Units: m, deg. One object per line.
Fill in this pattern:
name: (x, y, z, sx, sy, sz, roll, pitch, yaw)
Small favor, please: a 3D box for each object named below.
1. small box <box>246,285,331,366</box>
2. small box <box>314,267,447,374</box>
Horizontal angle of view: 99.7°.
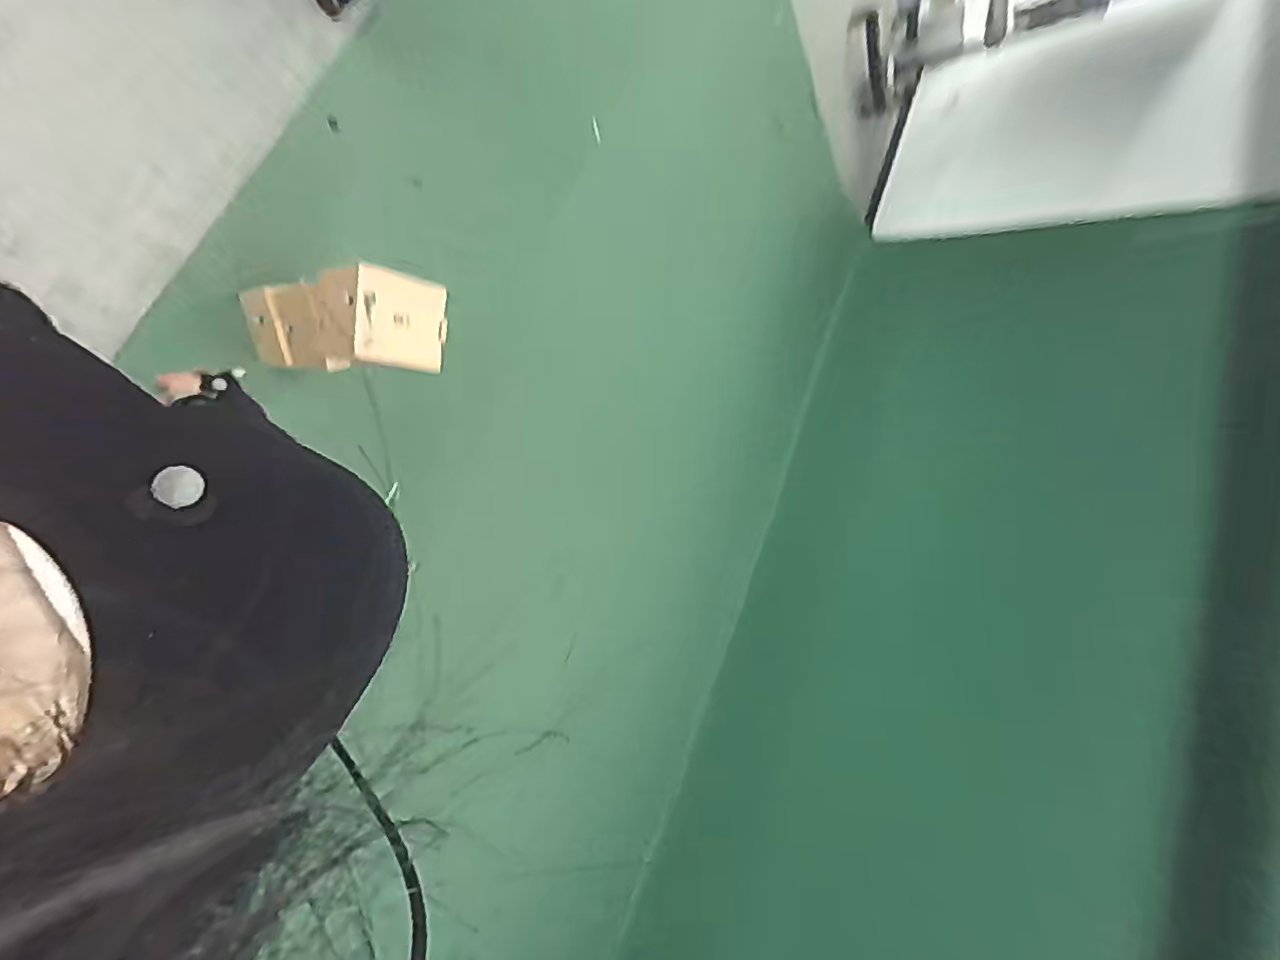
small box: (-0.780, -0.359, 1.256, 0.179, 0.176, 0.168, -28, 119, -46)
small box: (-0.512, -0.309, 1.072, 0.179, 0.176, 0.168, 0, 98, -52)
